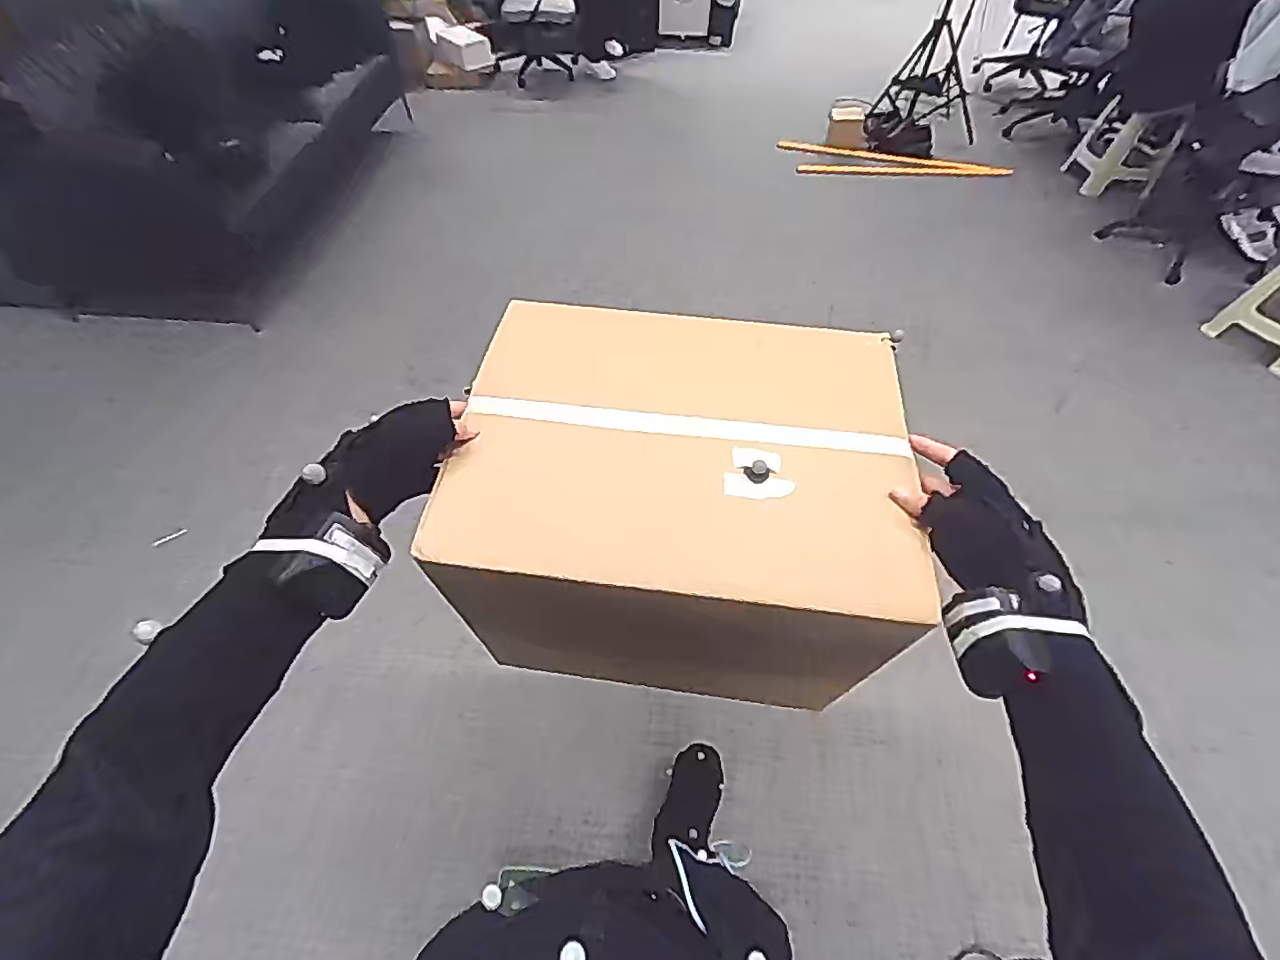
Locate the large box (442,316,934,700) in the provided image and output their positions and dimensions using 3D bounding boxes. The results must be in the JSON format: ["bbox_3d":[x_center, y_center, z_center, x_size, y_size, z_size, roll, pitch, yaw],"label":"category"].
[{"bbox_3d":[0.046,0.043,0.634,0.408,0.320,0.320,7,57,3],"label":"large box"}]
